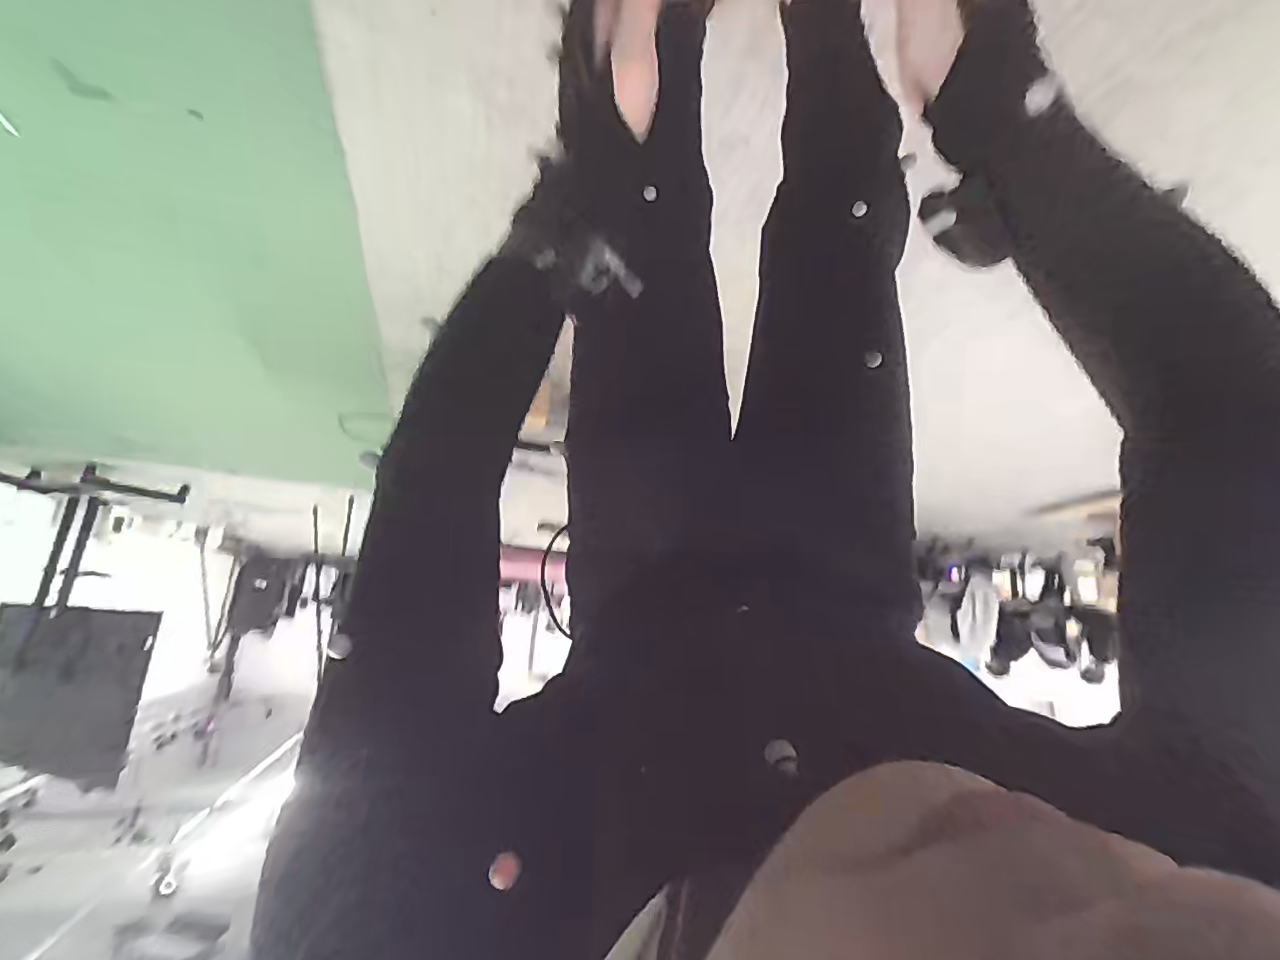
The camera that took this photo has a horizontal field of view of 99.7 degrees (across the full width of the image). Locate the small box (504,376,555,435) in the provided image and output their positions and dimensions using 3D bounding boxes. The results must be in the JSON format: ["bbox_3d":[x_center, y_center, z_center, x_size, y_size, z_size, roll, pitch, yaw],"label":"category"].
[{"bbox_3d":[-0.438,-0.294,2.139,0.179,0.176,0.168,8,163,-14],"label":"small box"}]

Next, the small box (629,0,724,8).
[{"bbox_3d":[0.066,-0.431,0.313,0.168,0.176,0.179,-4,161,1],"label":"small box"}]
